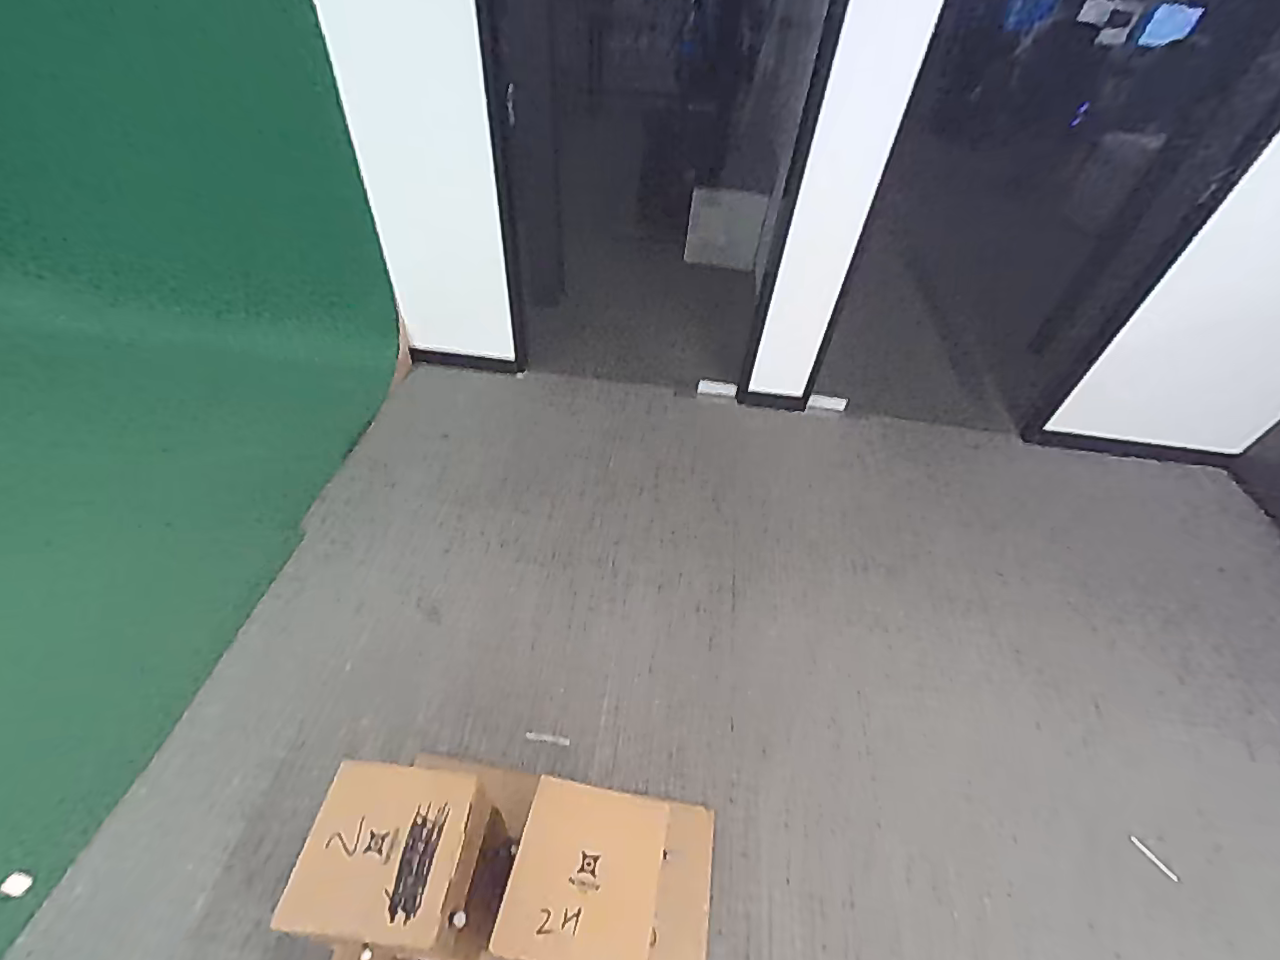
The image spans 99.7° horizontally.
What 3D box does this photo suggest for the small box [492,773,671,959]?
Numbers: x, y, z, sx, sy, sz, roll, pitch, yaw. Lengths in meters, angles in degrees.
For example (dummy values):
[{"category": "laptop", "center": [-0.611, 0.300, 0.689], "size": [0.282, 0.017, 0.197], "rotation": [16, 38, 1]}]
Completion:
[{"category": "small box", "center": [-0.062, 0.495, 0.662], "size": [0.168, 0.176, 0.179], "rotation": [9, 46, 7]}]
